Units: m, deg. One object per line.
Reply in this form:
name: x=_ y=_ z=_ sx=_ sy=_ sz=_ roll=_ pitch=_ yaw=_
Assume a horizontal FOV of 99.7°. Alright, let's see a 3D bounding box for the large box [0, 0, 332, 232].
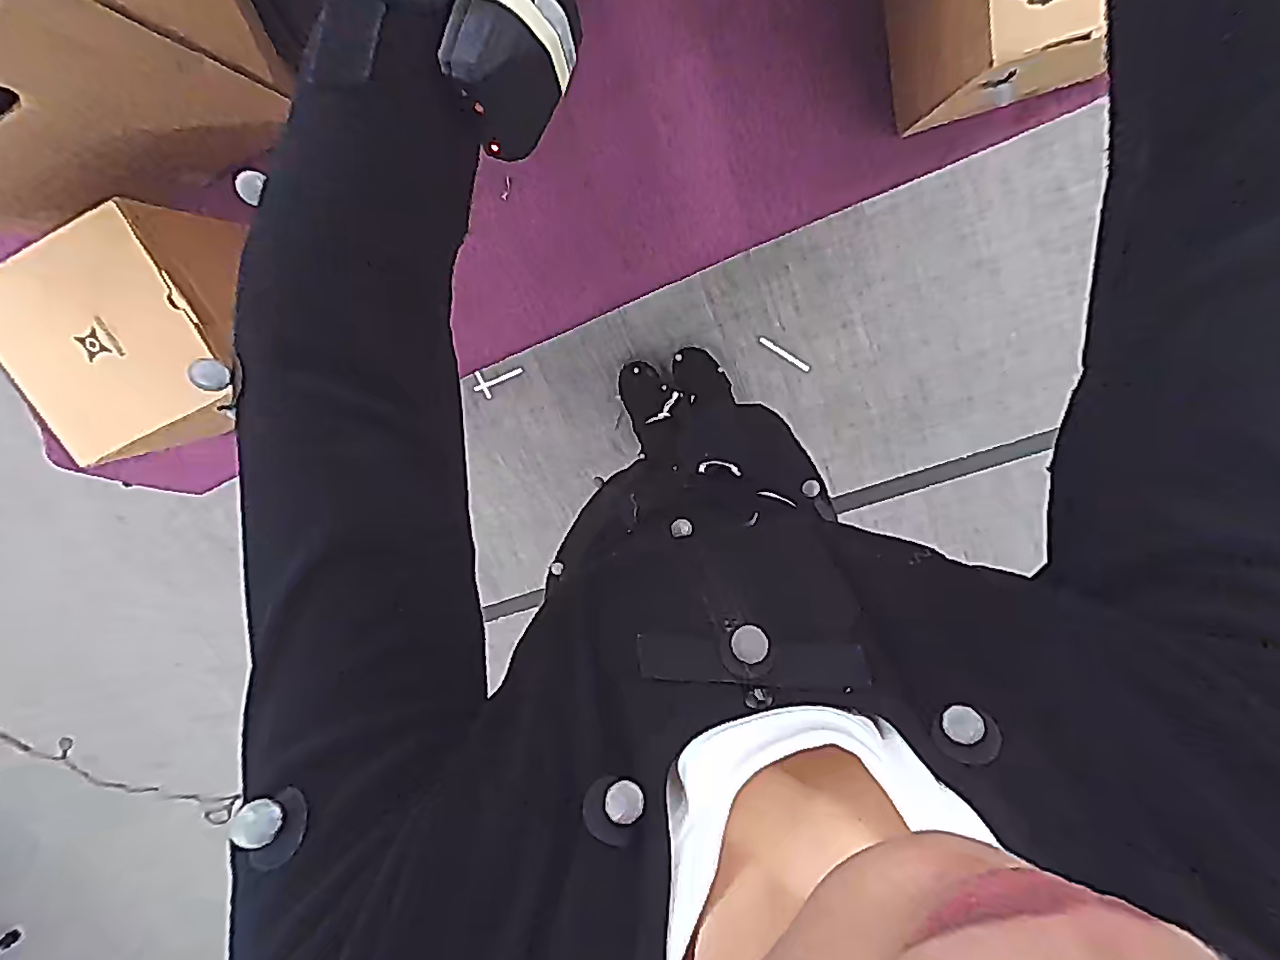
large box: x=-0.524 y=-0.441 z=0.371 sx=0.320 sy=0.320 sz=0.408 roll=-20 pitch=109 yaw=11
